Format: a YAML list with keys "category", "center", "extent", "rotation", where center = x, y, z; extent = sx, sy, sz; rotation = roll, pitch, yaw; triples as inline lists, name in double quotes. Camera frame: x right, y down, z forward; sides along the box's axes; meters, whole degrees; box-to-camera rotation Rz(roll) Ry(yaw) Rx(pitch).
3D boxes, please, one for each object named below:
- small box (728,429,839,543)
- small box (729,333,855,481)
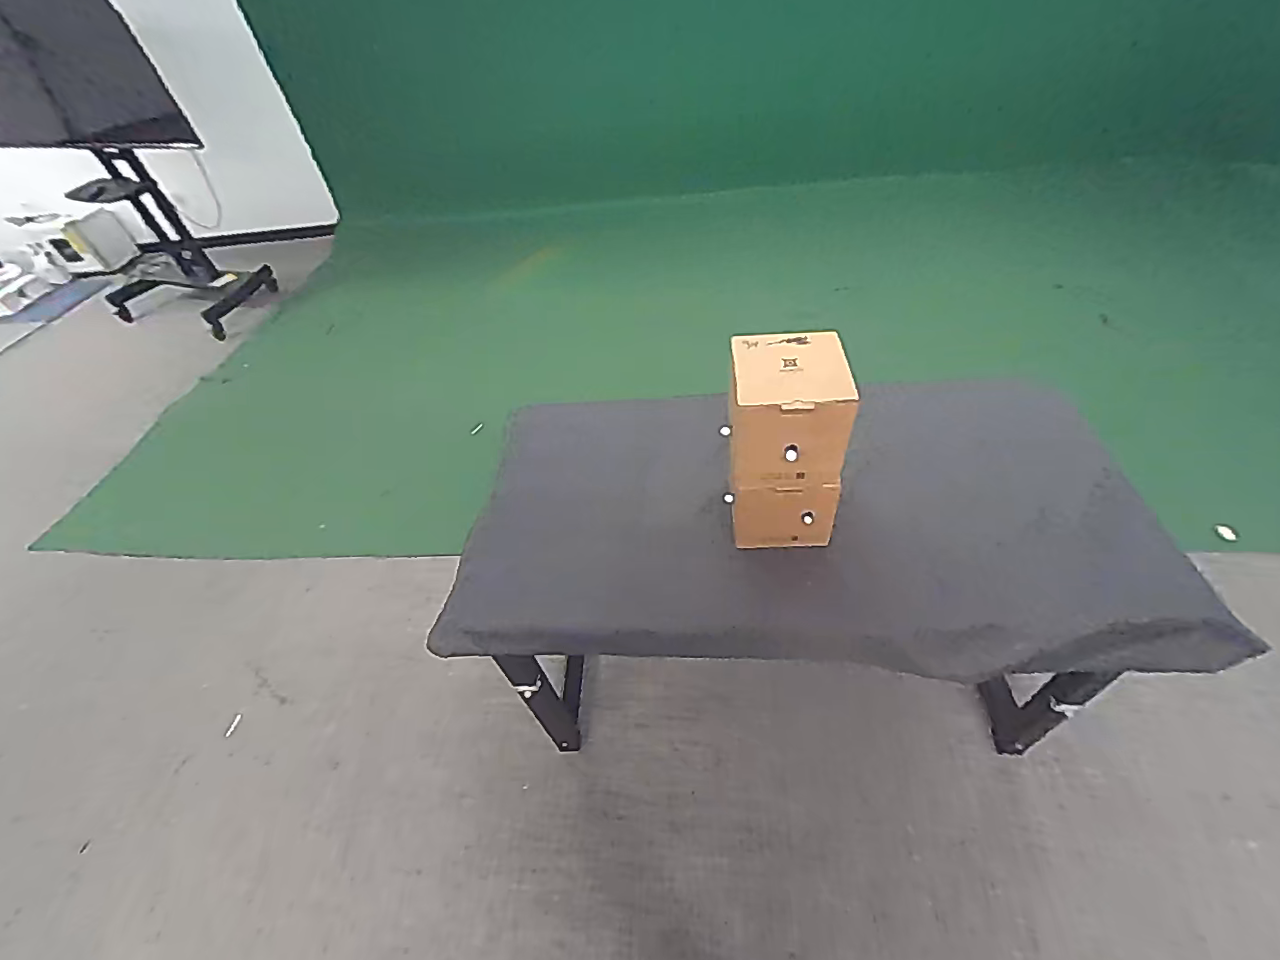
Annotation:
- category: "small box"
  center: [0.249, 0.003, 0.979]
  extent: [0.168, 0.176, 0.179]
  rotation: [-2, 46, 5]
- category: "small box"
  center: [0.229, -0.111, 0.862]
  extent: [0.168, 0.176, 0.179]
  rotation: [-1, 49, 6]
